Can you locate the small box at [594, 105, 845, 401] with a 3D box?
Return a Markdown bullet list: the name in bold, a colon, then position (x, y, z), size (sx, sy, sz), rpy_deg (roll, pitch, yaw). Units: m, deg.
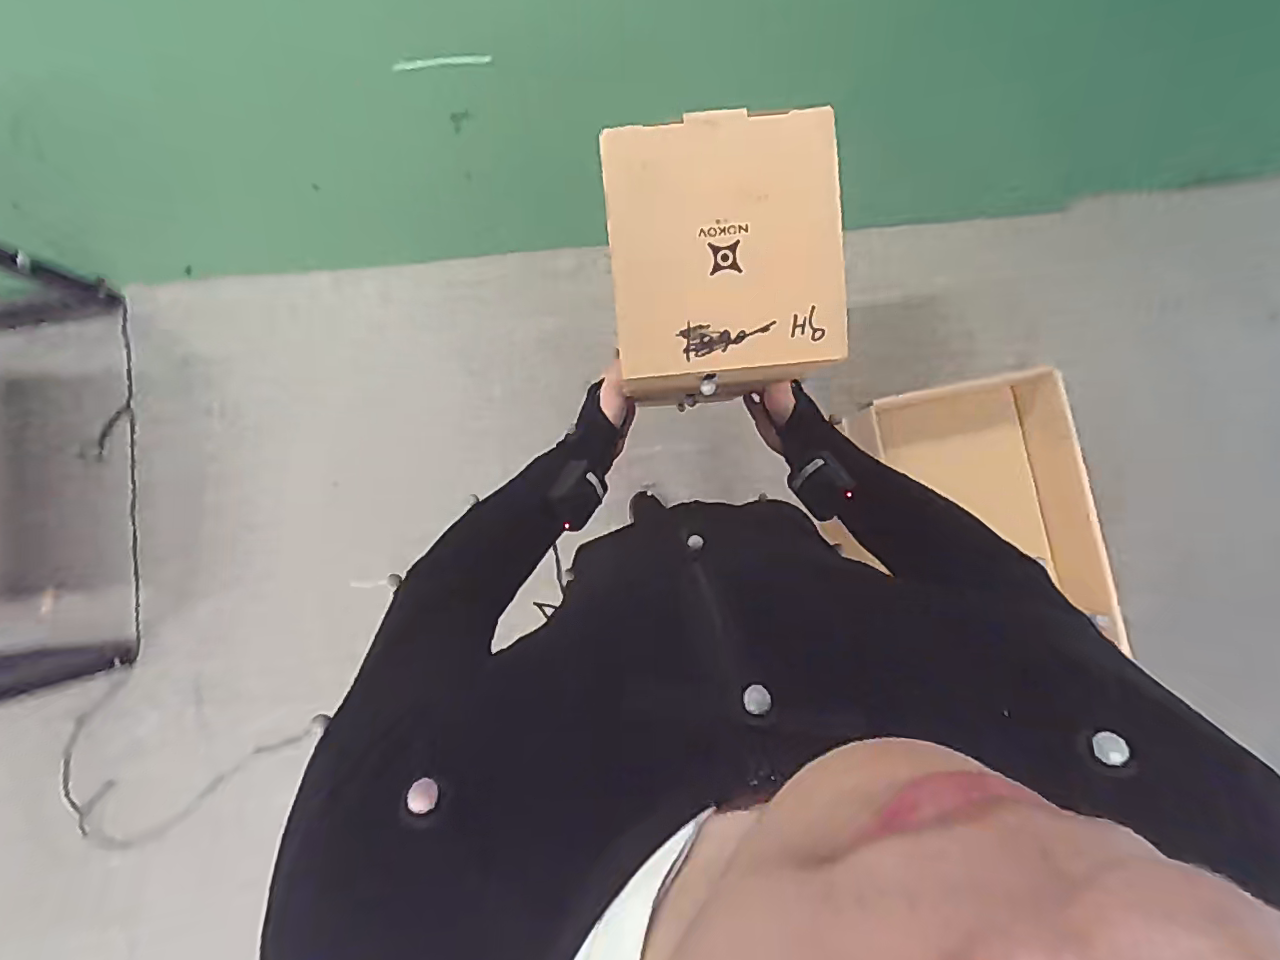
- **small box**: position (0.055, -0.167, 0.451), size (0.168, 0.176, 0.179), rpy_deg (-6, 94, 1)
